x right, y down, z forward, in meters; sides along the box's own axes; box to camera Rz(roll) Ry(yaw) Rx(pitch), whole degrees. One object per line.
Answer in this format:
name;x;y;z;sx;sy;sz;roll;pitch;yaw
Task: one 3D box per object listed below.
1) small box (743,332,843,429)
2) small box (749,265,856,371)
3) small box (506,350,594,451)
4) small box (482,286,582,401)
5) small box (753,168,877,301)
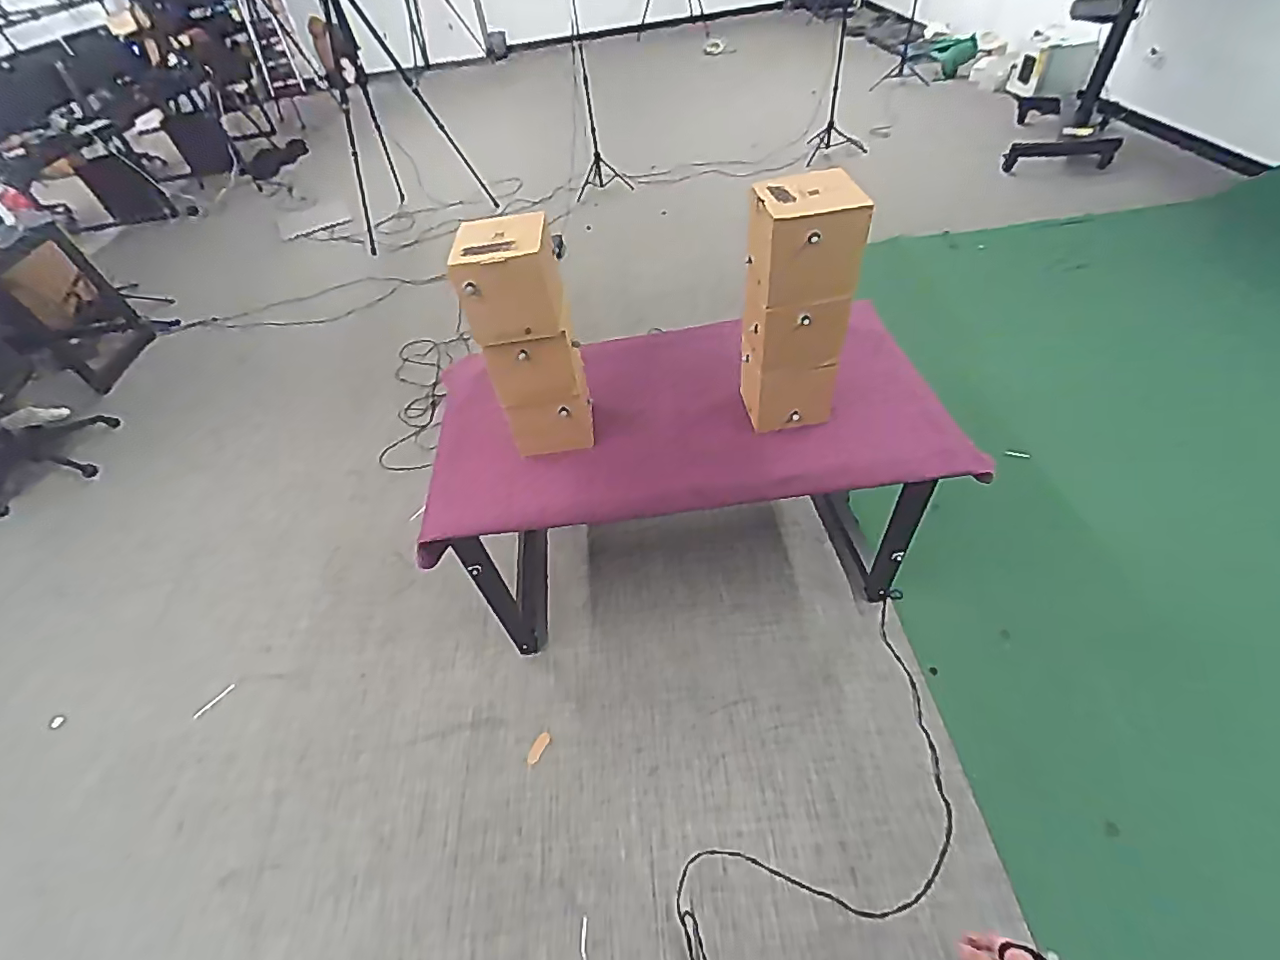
small box;0.346;-0.239;1.259;0.179;0.176;0.168;-8;48;1
small box;0.329;-0.347;1.137;0.179;0.176;0.168;-7;49;2
small box;-0.206;-0.188;1.292;0.179;0.176;0.168;-7;48;1
small box;-0.222;-0.291;1.168;0.179;0.176;0.168;-8;49;2
small box;0.314;-0.456;1.015;0.179;0.176;0.168;-8;50;1
